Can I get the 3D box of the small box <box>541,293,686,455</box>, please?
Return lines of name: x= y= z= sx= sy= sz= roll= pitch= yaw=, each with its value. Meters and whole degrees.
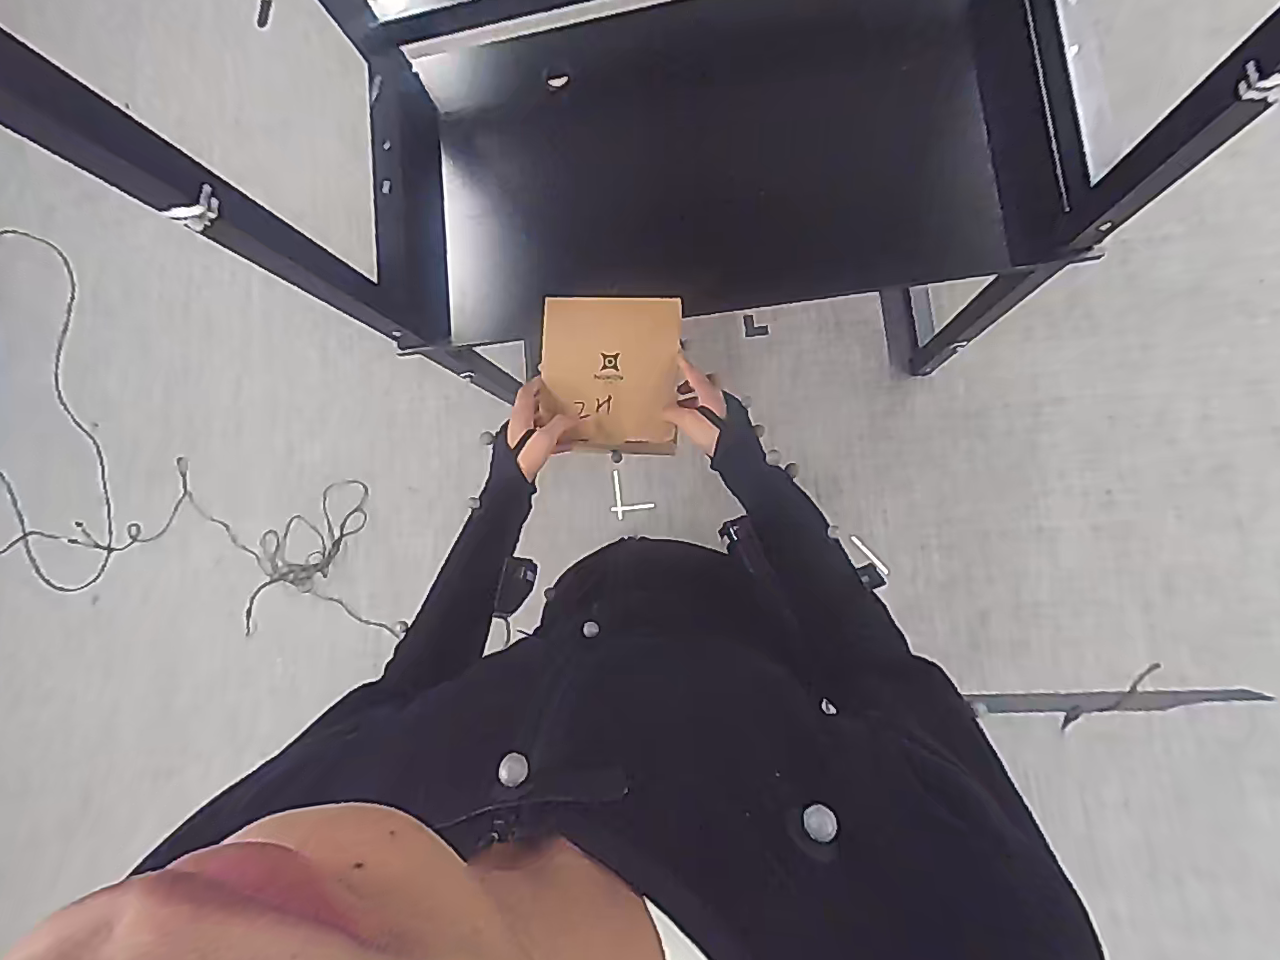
small box: x=-0.026 y=-0.131 z=0.718 sx=0.168 sy=0.176 sz=0.179 roll=3 pitch=88 yaw=5
